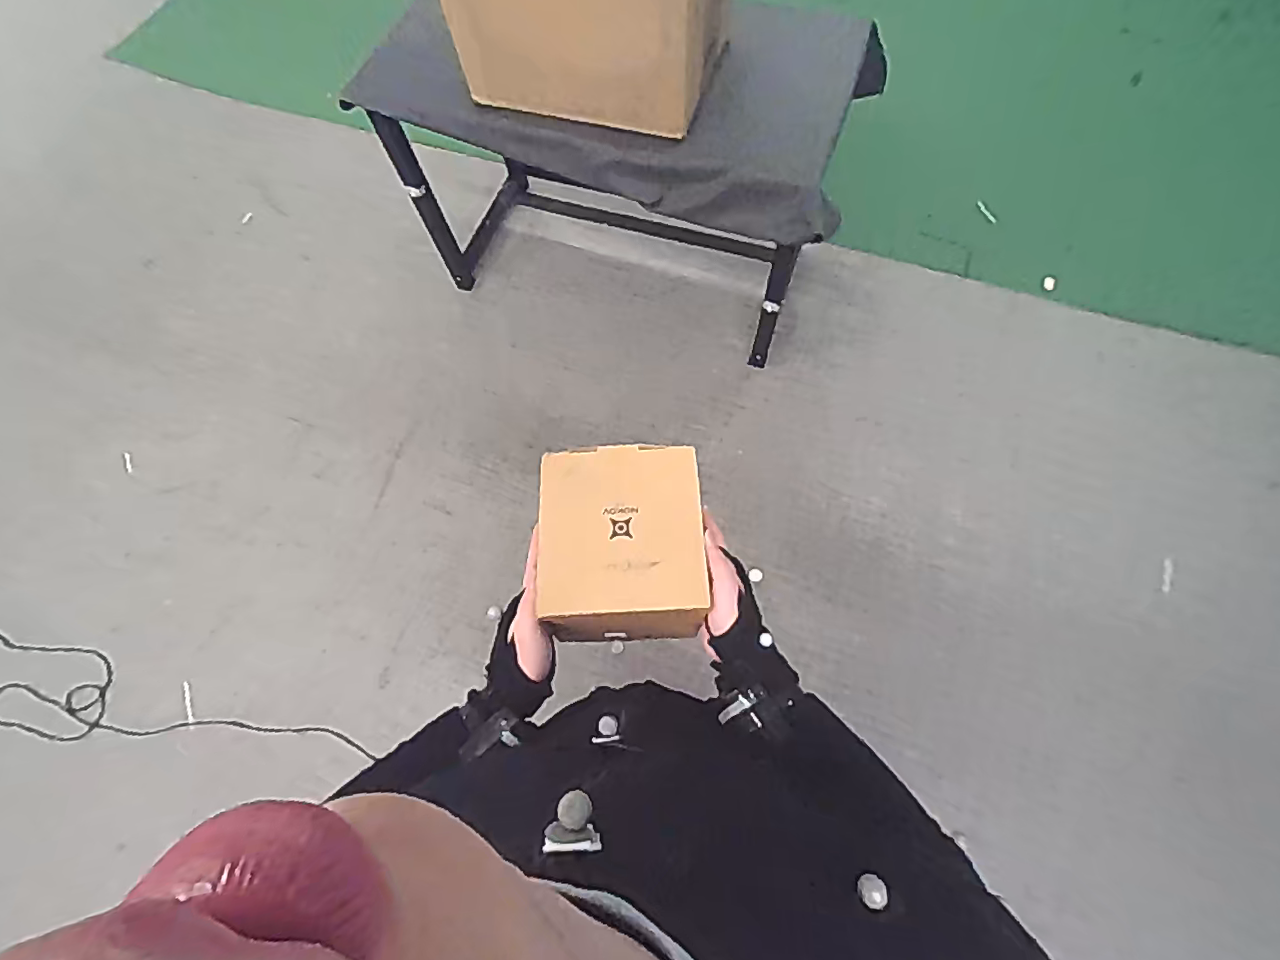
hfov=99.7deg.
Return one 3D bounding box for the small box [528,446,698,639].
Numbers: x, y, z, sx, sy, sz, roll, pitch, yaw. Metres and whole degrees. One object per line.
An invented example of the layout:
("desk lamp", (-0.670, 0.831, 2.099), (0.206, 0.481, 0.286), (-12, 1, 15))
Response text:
("small box", (-0.029, 0.078, 0.620), (0.168, 0.176, 0.179), (-3, 65, -1))
